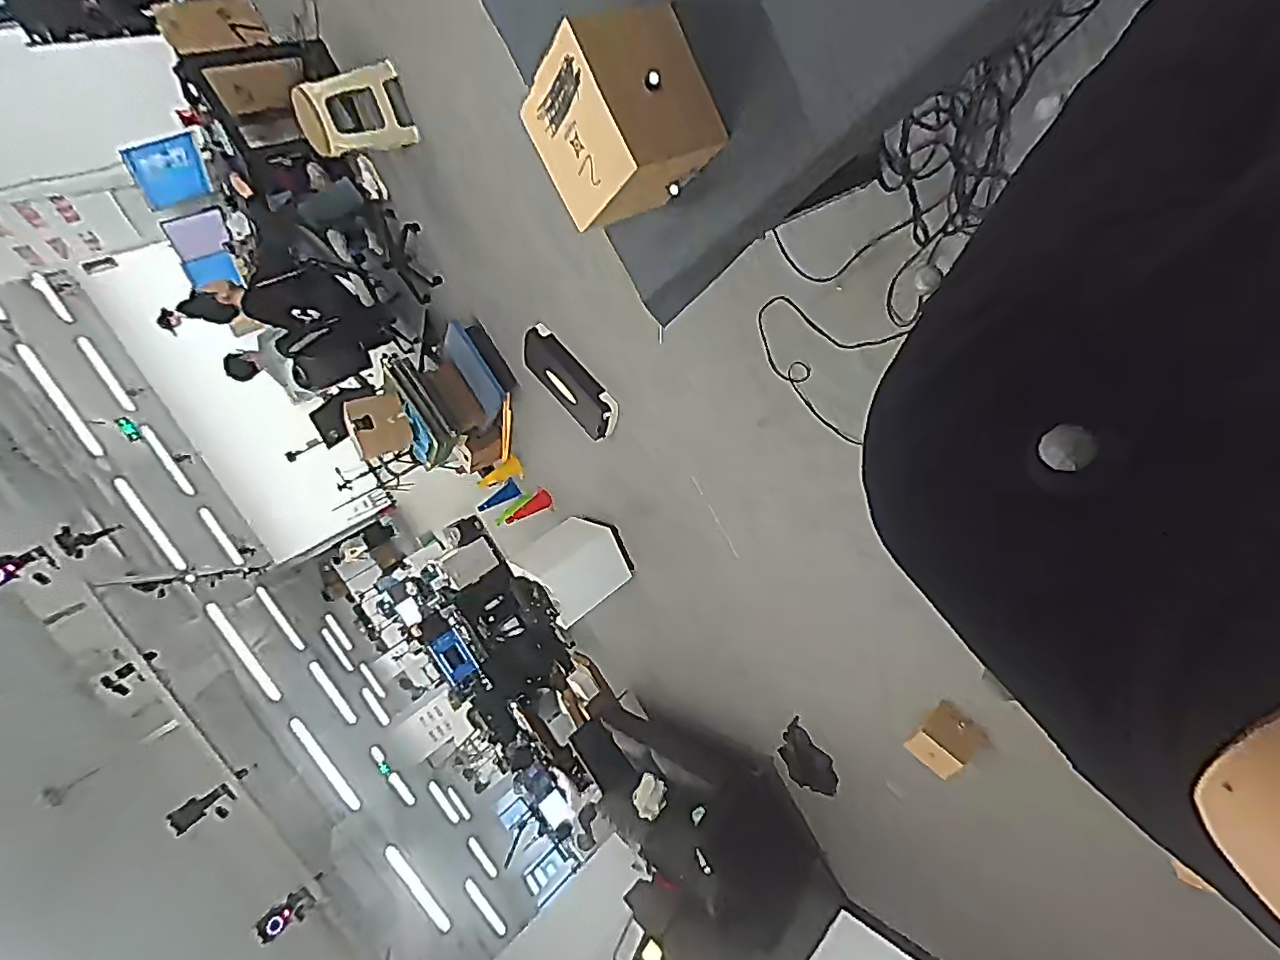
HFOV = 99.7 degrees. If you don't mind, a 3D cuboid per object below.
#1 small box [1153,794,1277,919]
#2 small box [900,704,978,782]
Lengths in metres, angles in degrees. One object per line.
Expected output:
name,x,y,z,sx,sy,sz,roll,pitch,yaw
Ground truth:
small box,1.484,0.955,1.392,0.168,0.176,0.179,60,152,-7
small box,1.109,0.970,2.002,0.168,0.176,0.179,38,146,28
